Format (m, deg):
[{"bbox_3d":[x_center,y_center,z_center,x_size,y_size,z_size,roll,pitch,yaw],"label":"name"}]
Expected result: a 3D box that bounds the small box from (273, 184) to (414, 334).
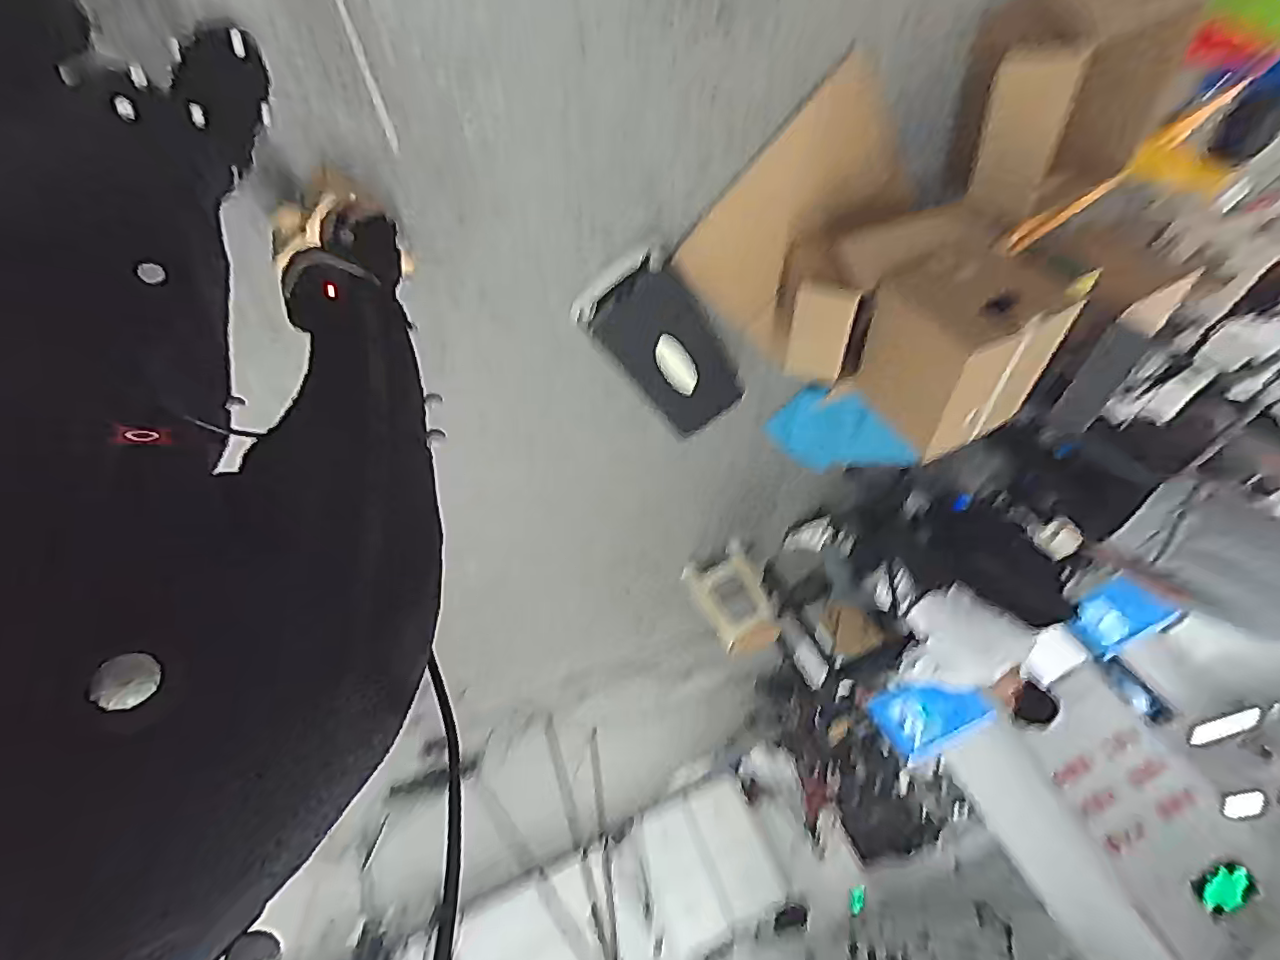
[{"bbox_3d":[-0.569,-0.425,1.039,0.168,0.176,0.179,-40,142,14],"label":"small box"}]
